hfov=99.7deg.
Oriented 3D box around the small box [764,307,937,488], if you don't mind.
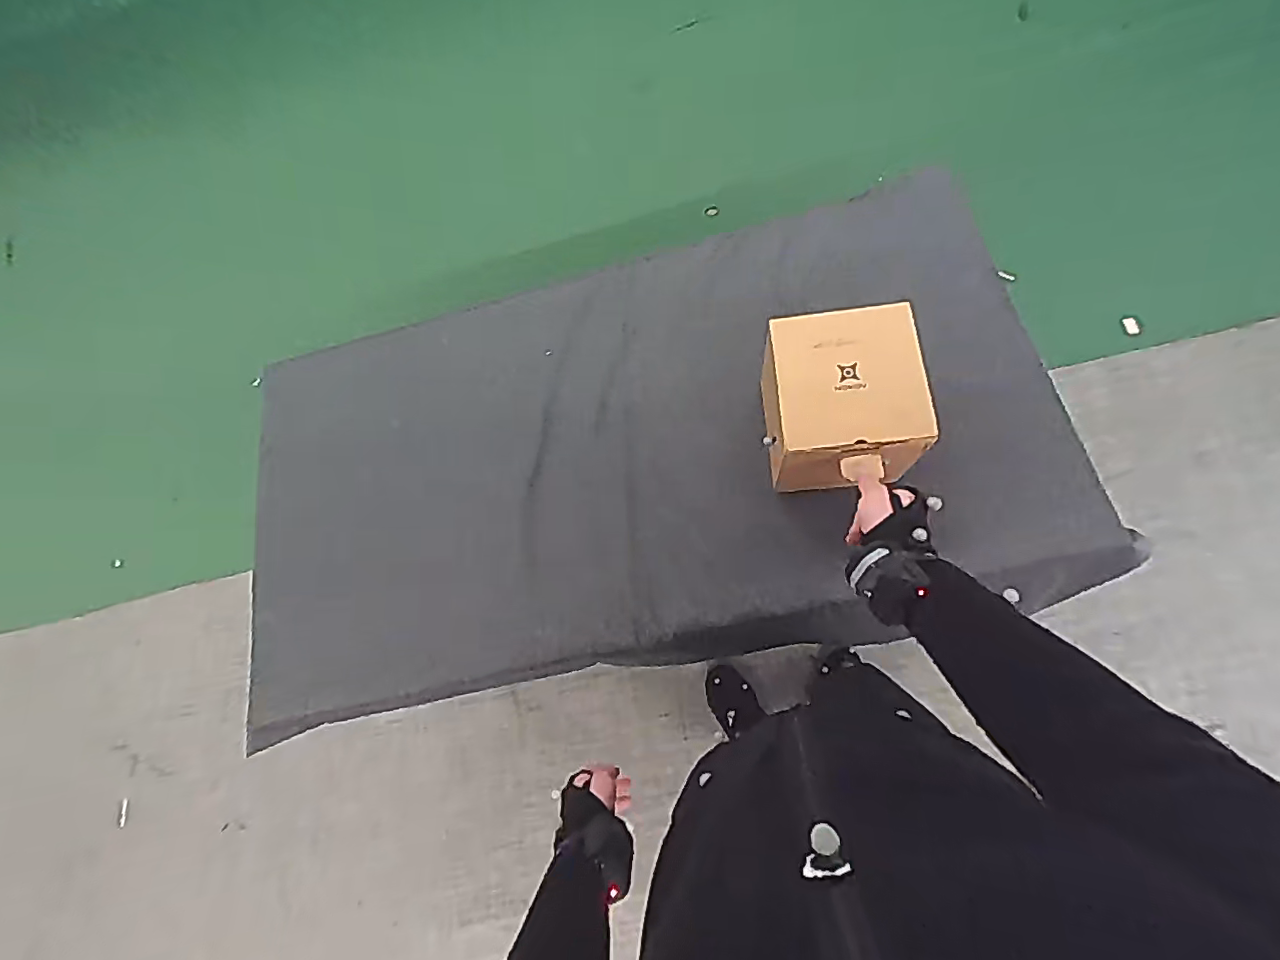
[{"bbox_3d":[0.255,-0.093,0.700,0.168,0.176,0.179,-4,71,7],"label":"small box"}]
